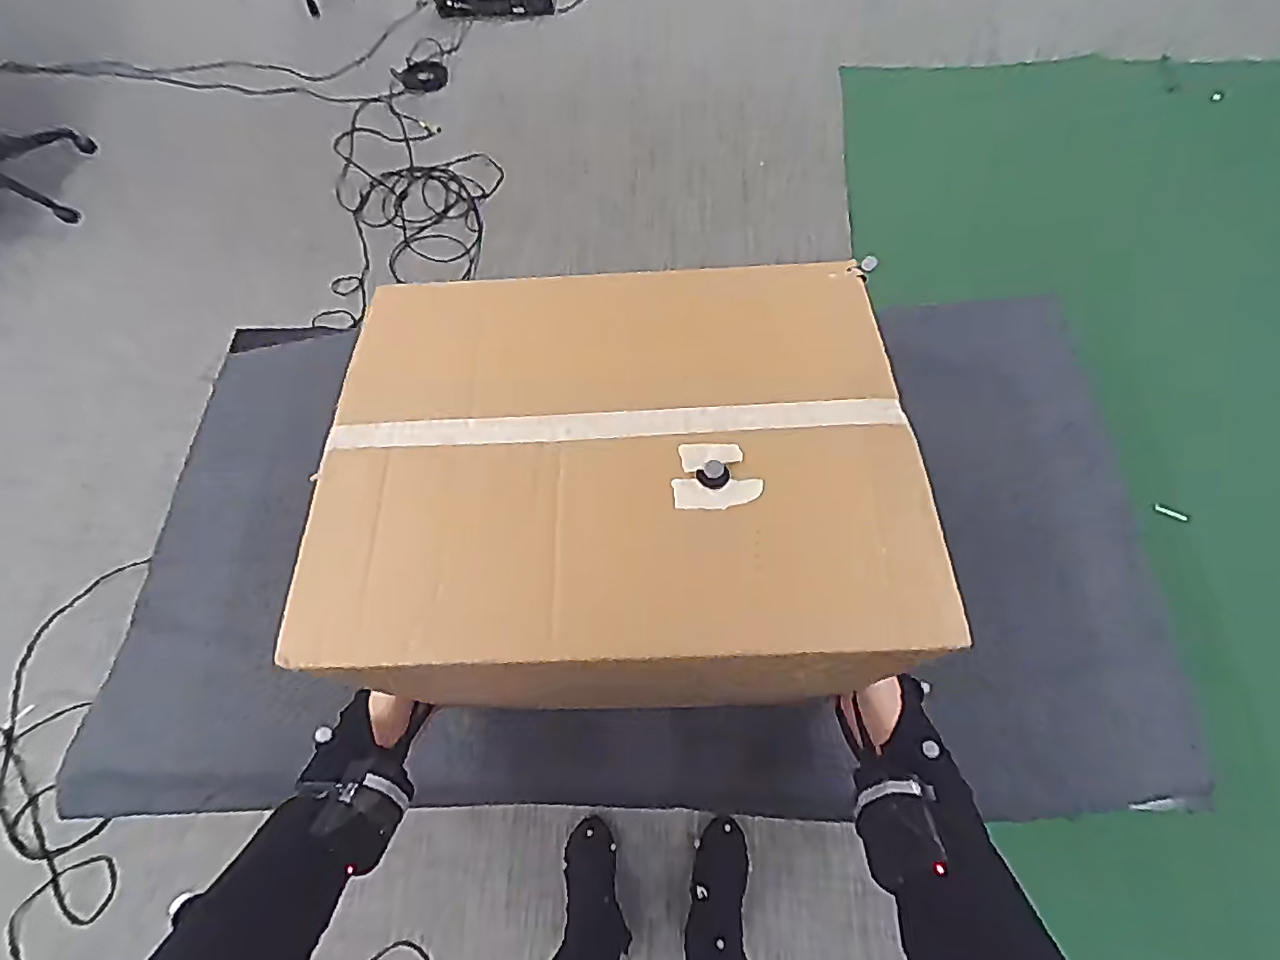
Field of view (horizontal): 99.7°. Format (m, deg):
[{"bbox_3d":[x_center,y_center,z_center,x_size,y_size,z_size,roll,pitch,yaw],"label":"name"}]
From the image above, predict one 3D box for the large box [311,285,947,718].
[{"bbox_3d":[-0.010,0.045,0.533,0.408,0.320,0.320,-2,62,1],"label":"large box"}]
